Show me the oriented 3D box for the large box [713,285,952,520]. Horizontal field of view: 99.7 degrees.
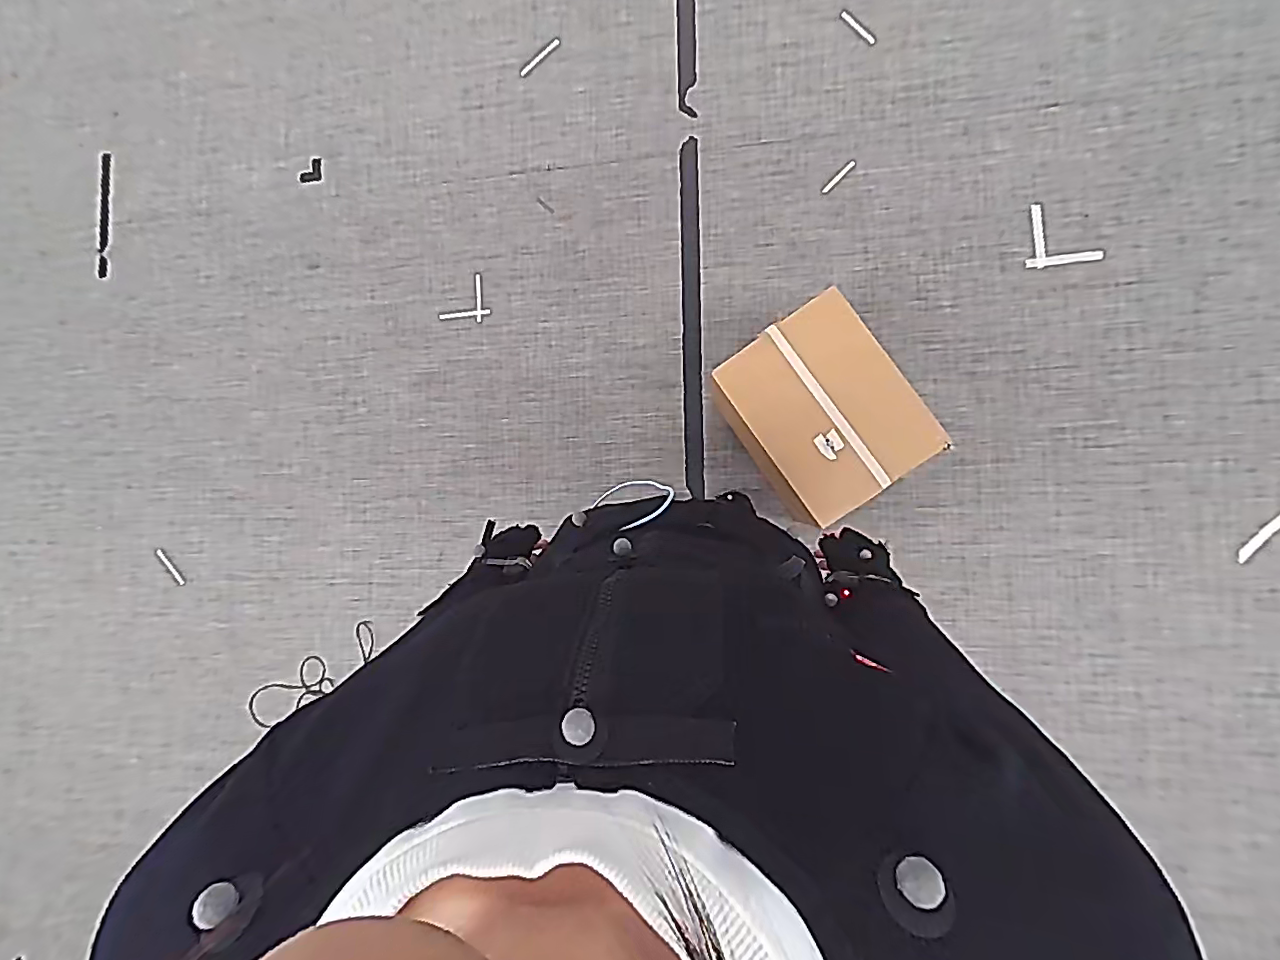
[{"bbox_3d":[0.410,-0.159,1.263,0.320,0.320,0.408,-35,85,6],"label":"large box"}]
